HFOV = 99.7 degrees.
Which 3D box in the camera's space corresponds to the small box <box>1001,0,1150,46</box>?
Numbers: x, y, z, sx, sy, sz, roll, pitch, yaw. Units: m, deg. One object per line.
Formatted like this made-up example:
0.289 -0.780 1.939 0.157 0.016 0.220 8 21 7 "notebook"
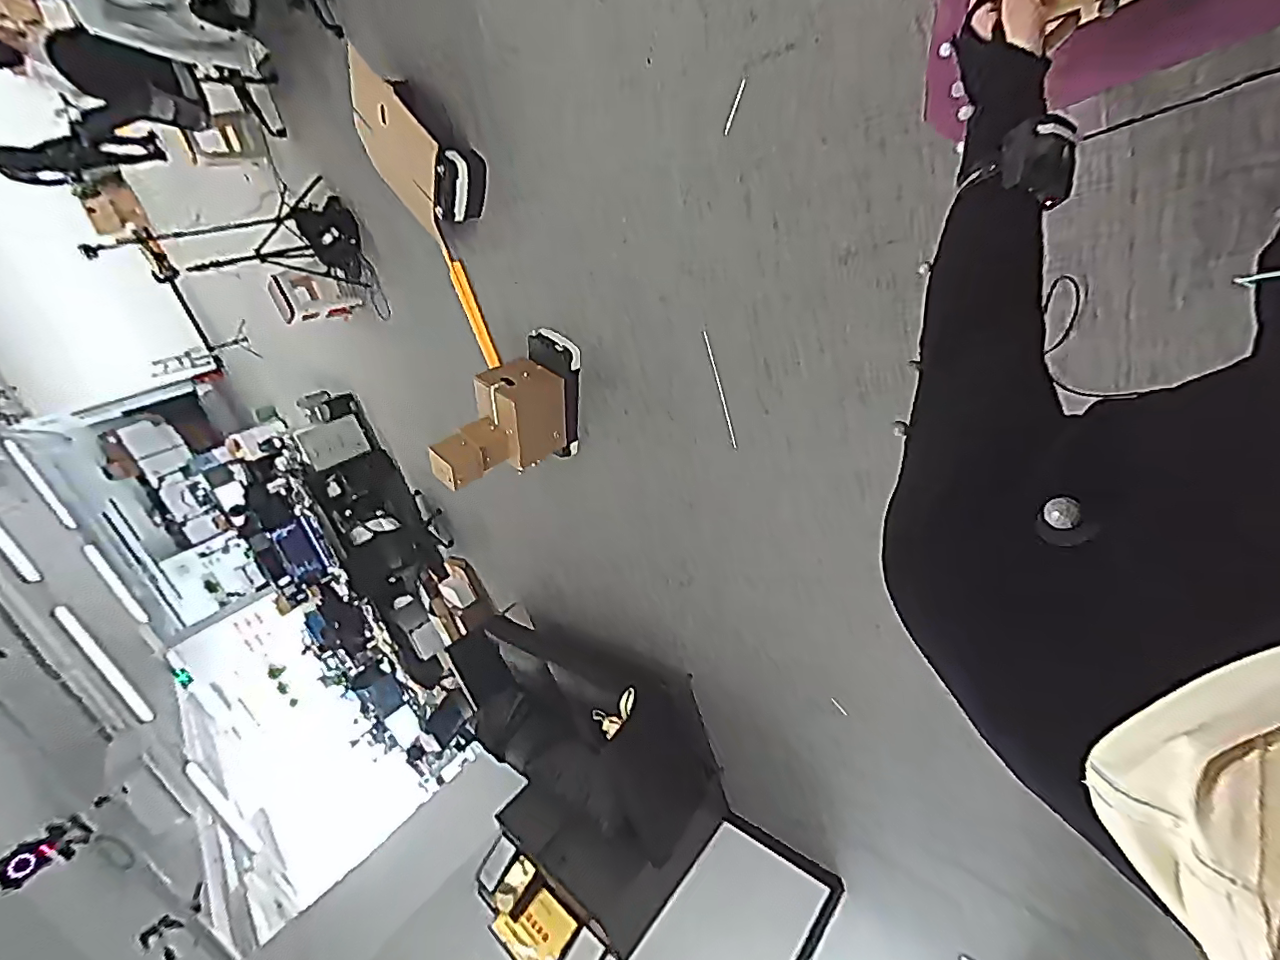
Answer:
0.431 -0.523 0.474 0.168 0.176 0.179 2 116 48 "small box"
